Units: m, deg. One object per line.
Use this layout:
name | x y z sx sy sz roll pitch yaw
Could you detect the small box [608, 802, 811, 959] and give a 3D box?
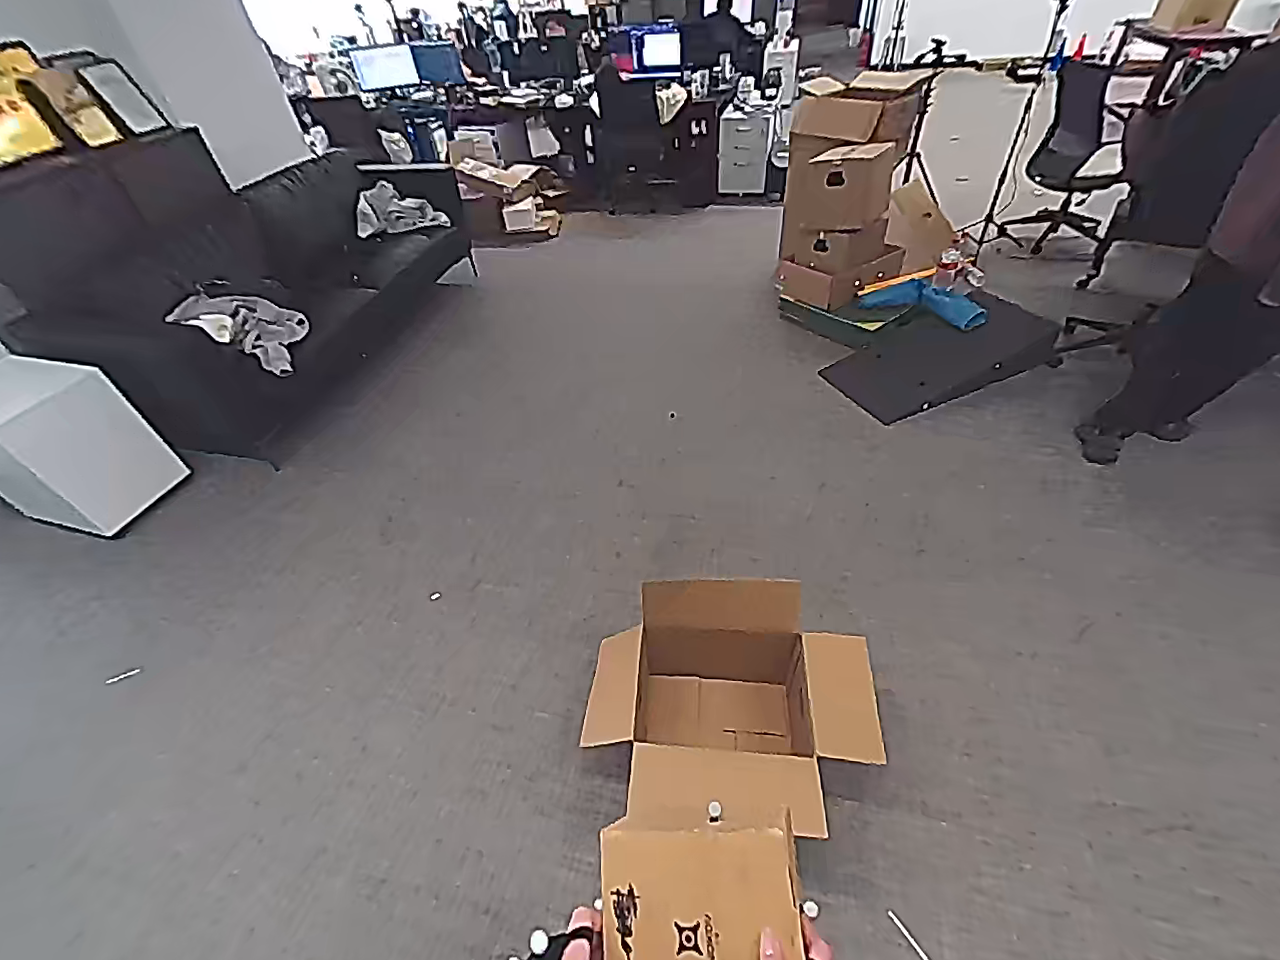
small box | 0.075 0.429 0.543 0.179 0.176 0.168 -9 64 12
